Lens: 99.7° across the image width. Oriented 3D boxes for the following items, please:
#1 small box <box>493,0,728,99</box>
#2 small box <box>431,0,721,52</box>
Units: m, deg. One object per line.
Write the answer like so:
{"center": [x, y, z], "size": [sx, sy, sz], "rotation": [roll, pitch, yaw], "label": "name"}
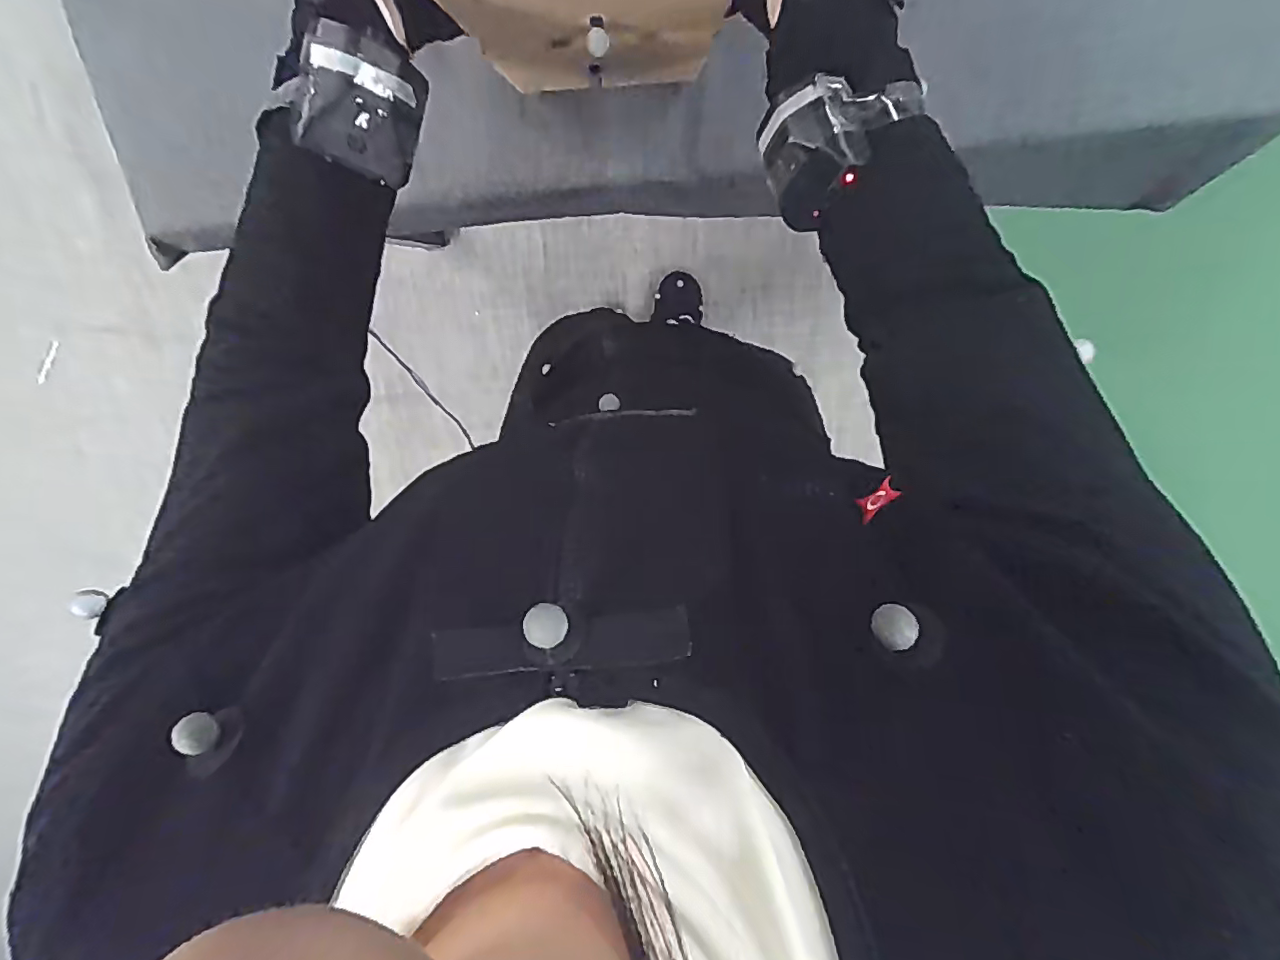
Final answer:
{"center": [-0.033, -0.424, 0.433], "size": [0.179, 0.176, 0.168], "rotation": [-7, 118, 2], "label": "small box"}
{"center": [-0.035, -0.352, 0.285], "size": [0.179, 0.176, 0.168], "rotation": [-3, 116, 1], "label": "small box"}
